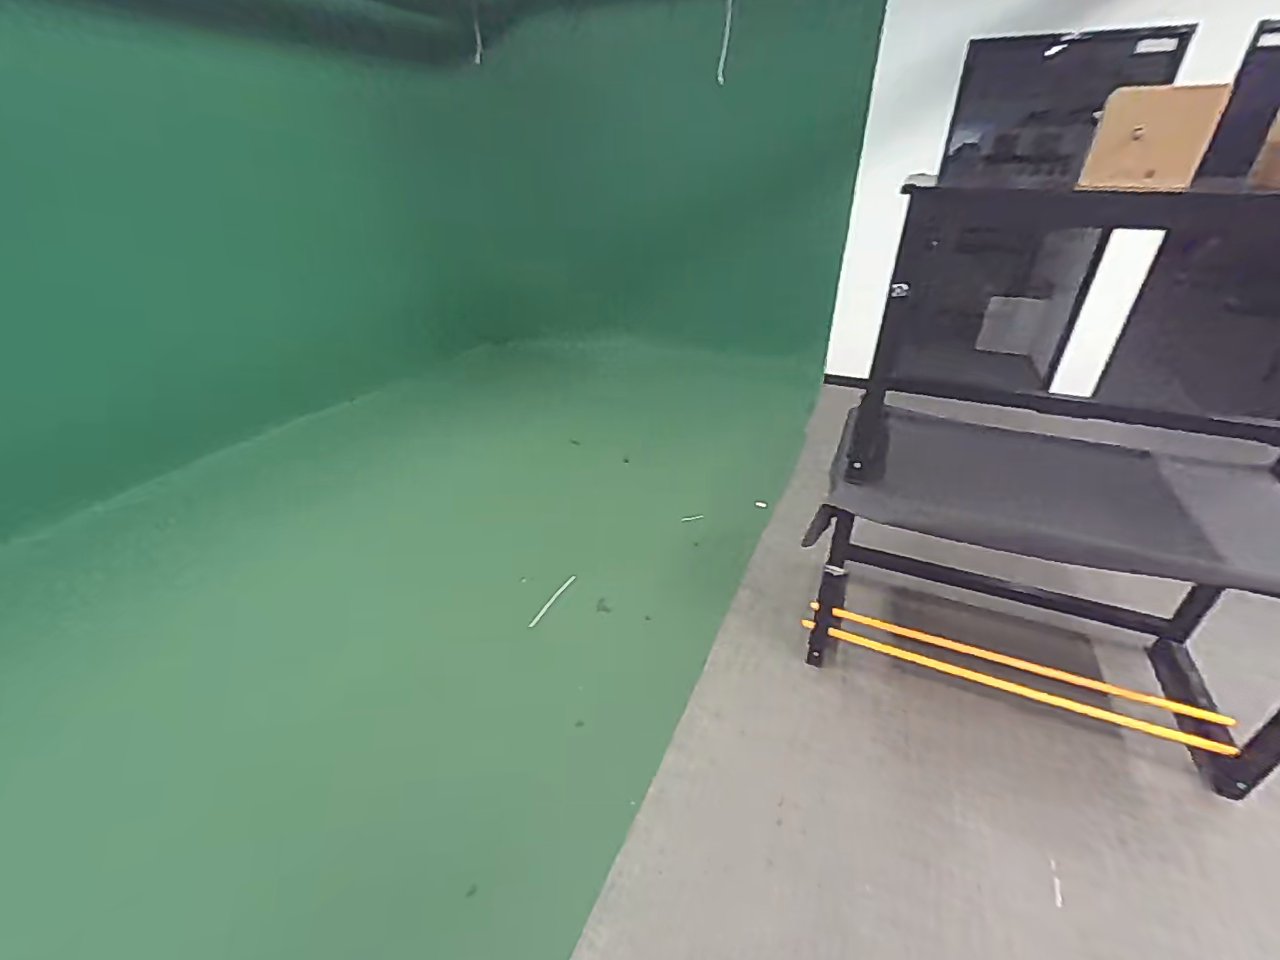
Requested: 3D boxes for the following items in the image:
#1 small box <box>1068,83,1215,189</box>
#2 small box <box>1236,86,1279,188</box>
[{"bbox_3d":[1.004,-0.691,1.100,0.168,0.176,0.179,17,35,27],"label":"small box"},{"bbox_3d":[1.265,-0.626,0.982,0.168,0.176,0.179,9,32,17],"label":"small box"}]
